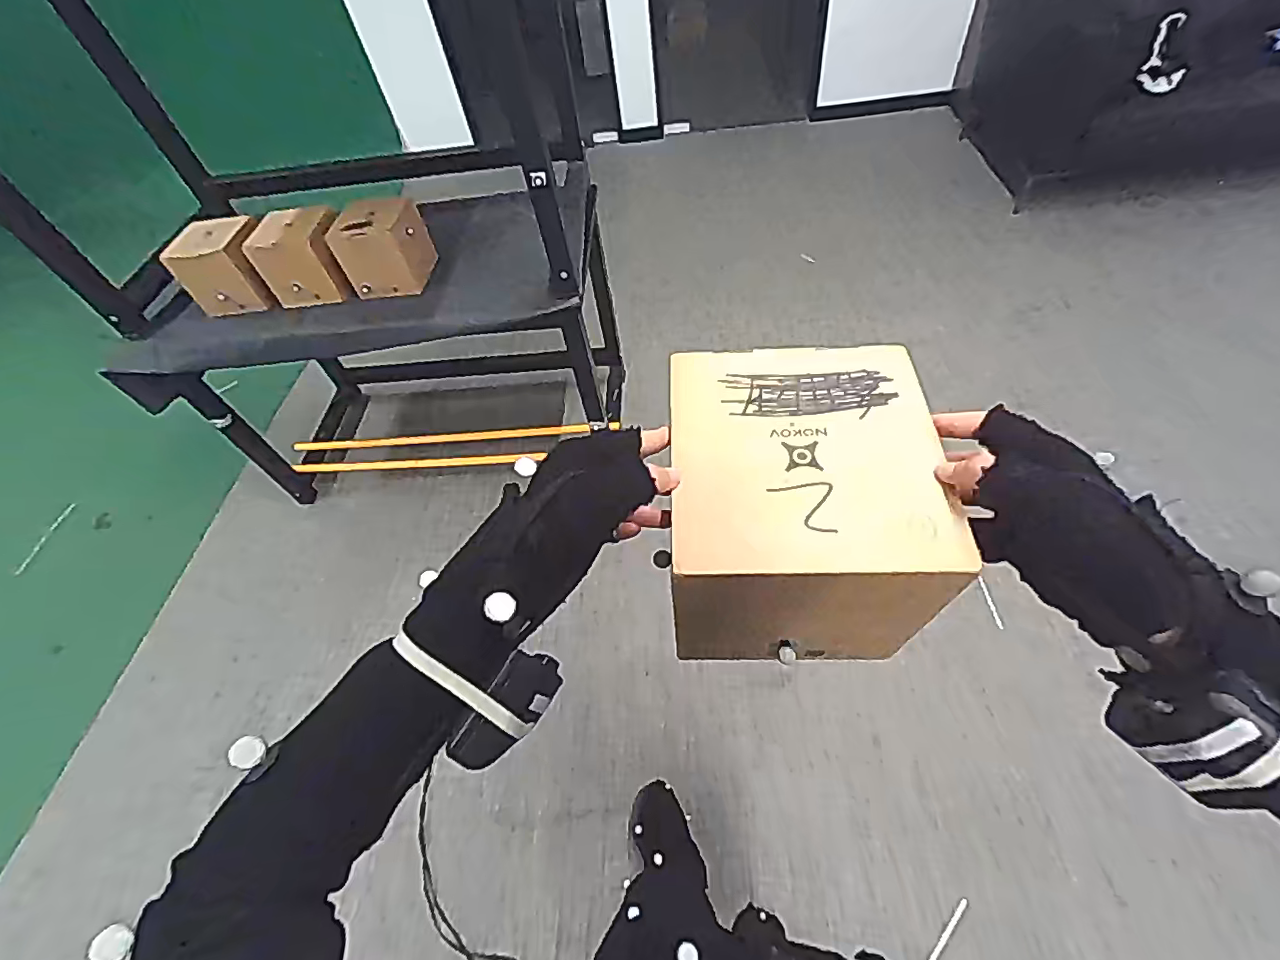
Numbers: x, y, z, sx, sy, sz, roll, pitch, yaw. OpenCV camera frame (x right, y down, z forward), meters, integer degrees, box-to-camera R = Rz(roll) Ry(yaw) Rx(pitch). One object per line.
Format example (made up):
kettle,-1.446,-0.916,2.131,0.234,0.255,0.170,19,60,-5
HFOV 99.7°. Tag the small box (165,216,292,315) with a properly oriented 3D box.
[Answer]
small box,-1.044,-0.552,1.394,0.168,0.176,0.179,-5,52,4
